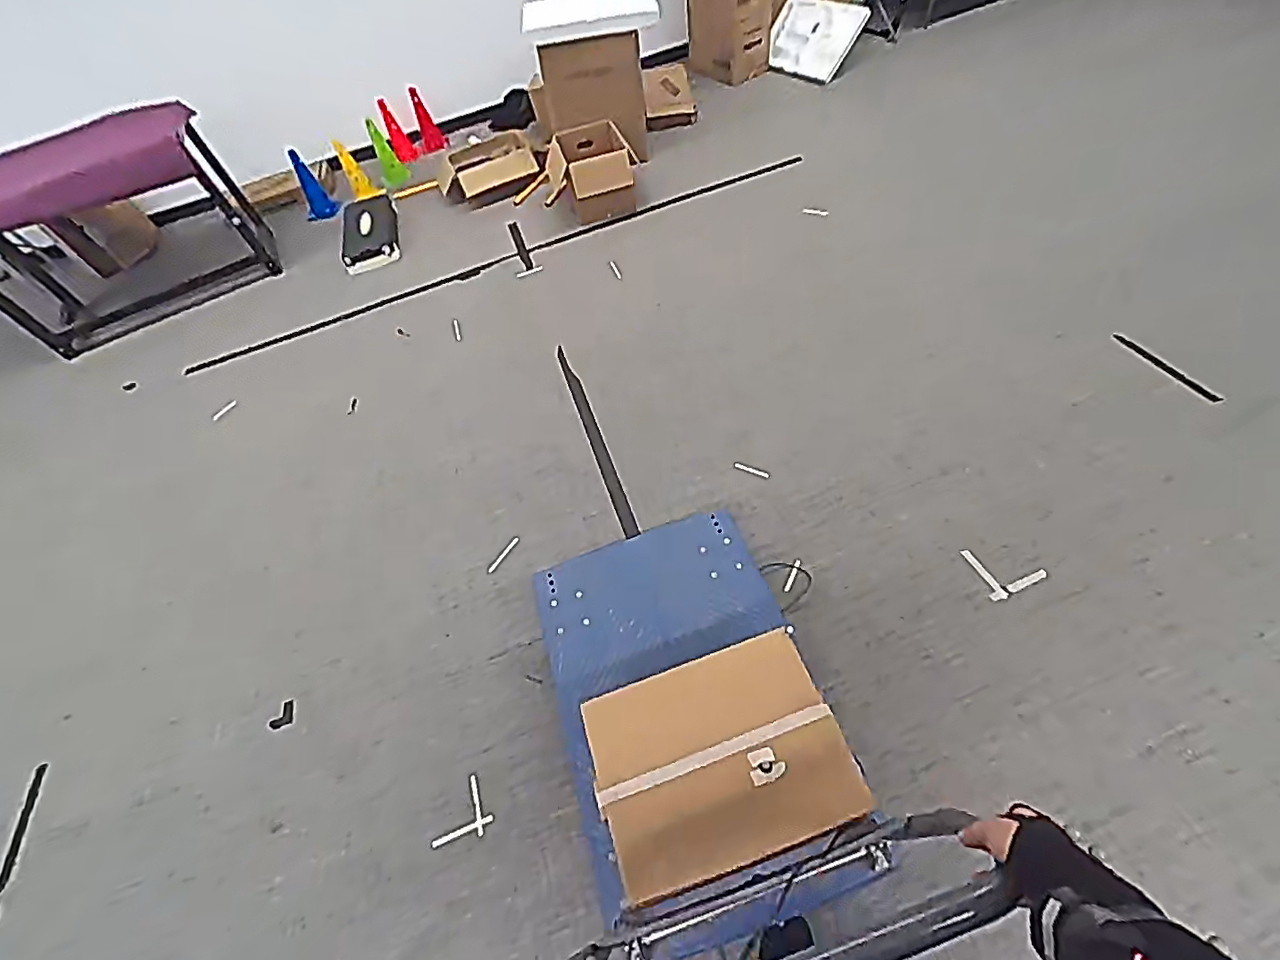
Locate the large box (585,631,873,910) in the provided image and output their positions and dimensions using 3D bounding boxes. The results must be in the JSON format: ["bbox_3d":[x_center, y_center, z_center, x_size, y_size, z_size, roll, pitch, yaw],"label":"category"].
[{"bbox_3d":[0.150,0.549,1.023,0.408,0.320,0.320,-19,53,-5],"label":"large box"}]
